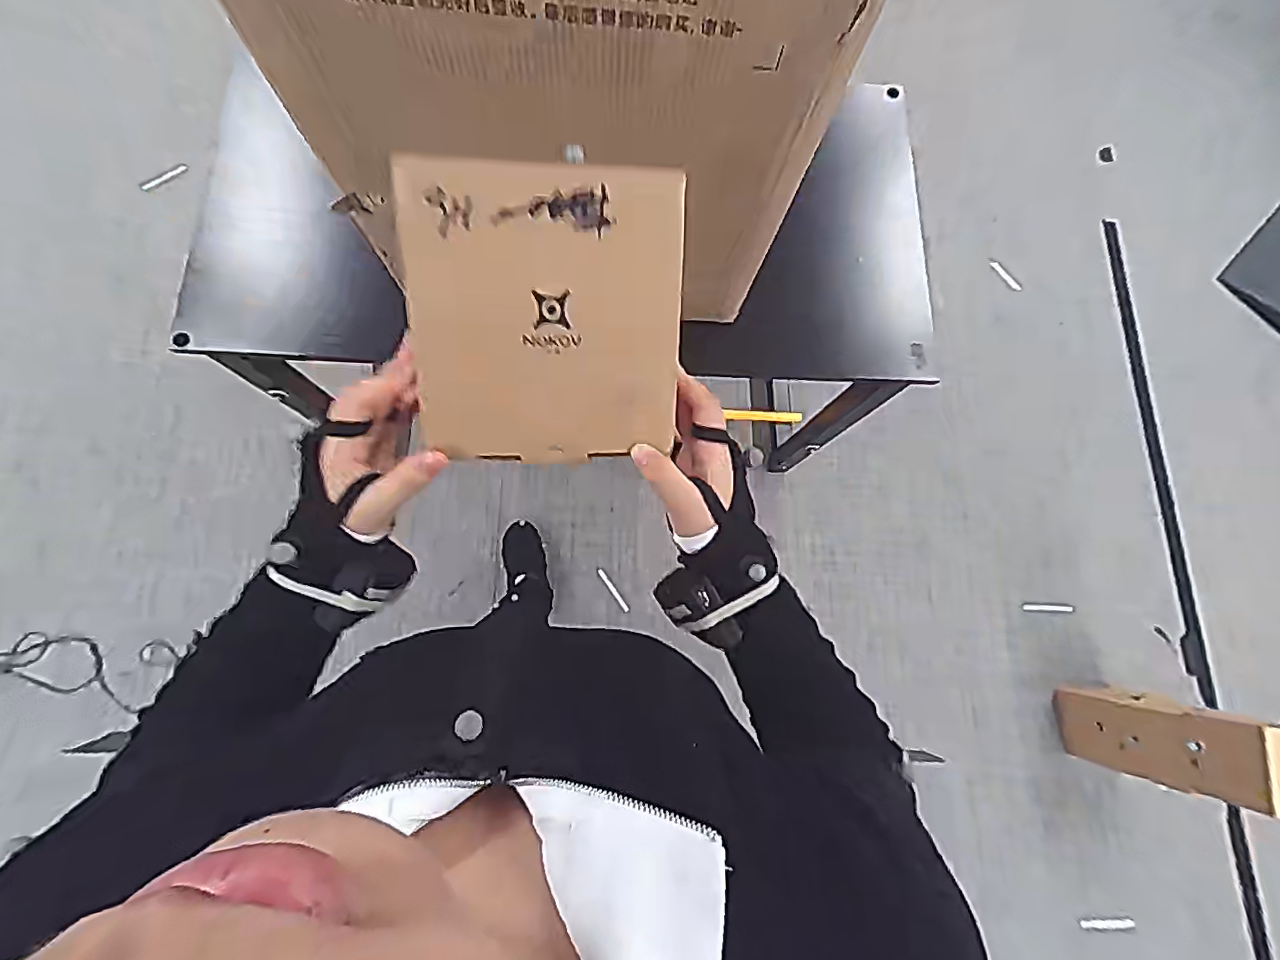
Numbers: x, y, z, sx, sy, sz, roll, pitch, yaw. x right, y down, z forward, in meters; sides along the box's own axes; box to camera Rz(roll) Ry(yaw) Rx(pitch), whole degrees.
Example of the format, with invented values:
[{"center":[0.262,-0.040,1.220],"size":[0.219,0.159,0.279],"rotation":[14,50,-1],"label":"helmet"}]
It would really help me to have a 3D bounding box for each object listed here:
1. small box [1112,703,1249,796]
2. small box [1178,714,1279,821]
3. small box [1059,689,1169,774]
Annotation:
[{"center":[1.273,0.626,1.270],"size":[0.179,0.176,0.168],"rotation":[2,77,-3],"label":"small box"},{"center":[1.278,0.589,1.111],"size":[0.179,0.176,0.168],"rotation":[8,76,-2],"label":"small box"},{"center":[1.260,0.656,1.431],"size":[0.168,0.176,0.179],"rotation":[-1,78,-4],"label":"small box"}]
